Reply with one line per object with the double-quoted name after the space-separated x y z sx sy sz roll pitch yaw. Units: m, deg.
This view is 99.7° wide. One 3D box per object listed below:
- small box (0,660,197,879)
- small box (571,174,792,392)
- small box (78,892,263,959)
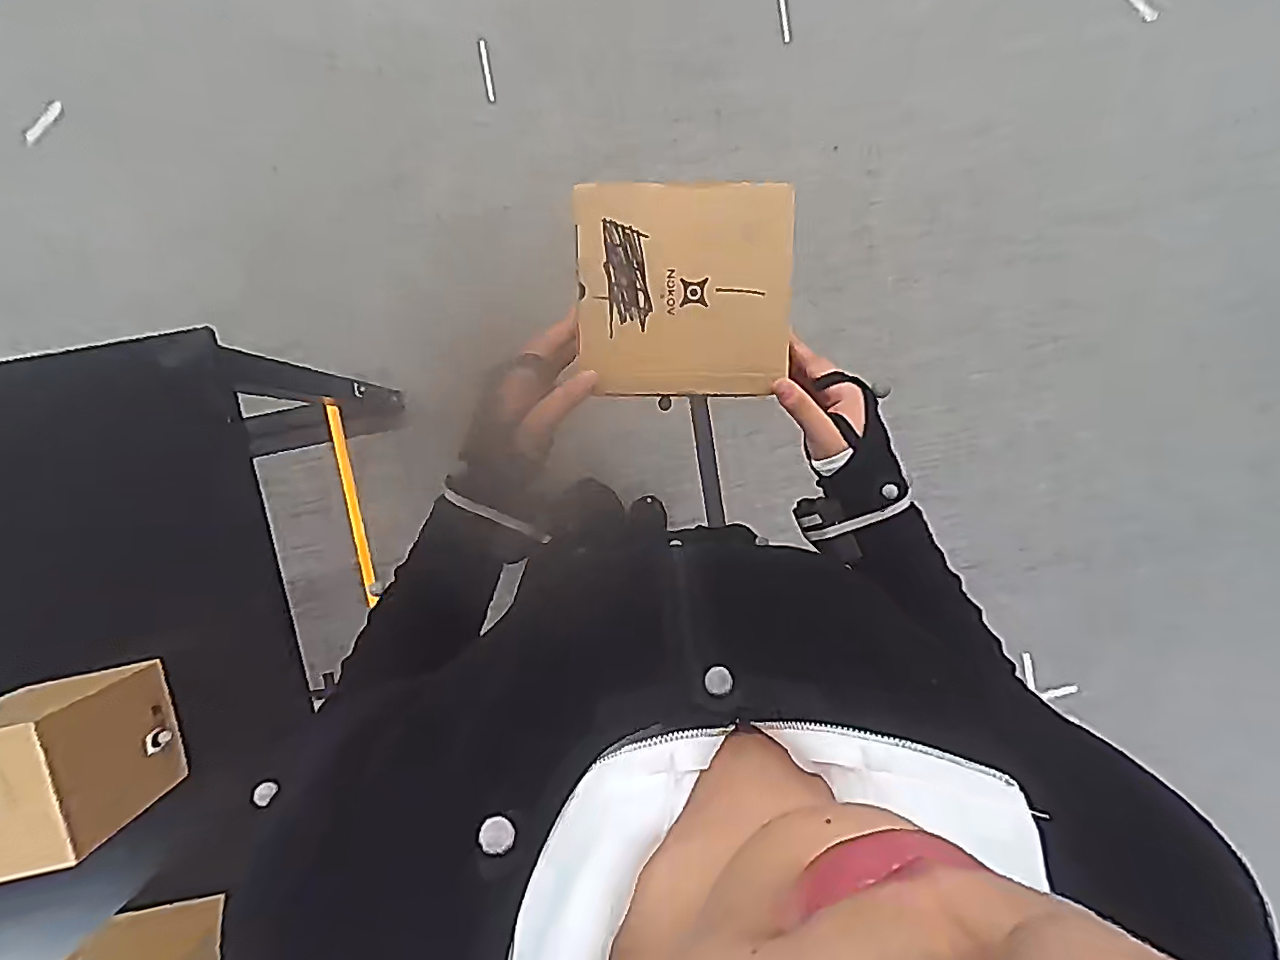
-0.700 0.341 0.653 0.179 0.176 0.168 -12 95 -3 "small box"
0.034 -0.169 0.514 0.179 0.176 0.168 0 98 1 "small box"
-0.614 0.668 0.675 0.179 0.176 0.168 -10 94 -3 "small box"
